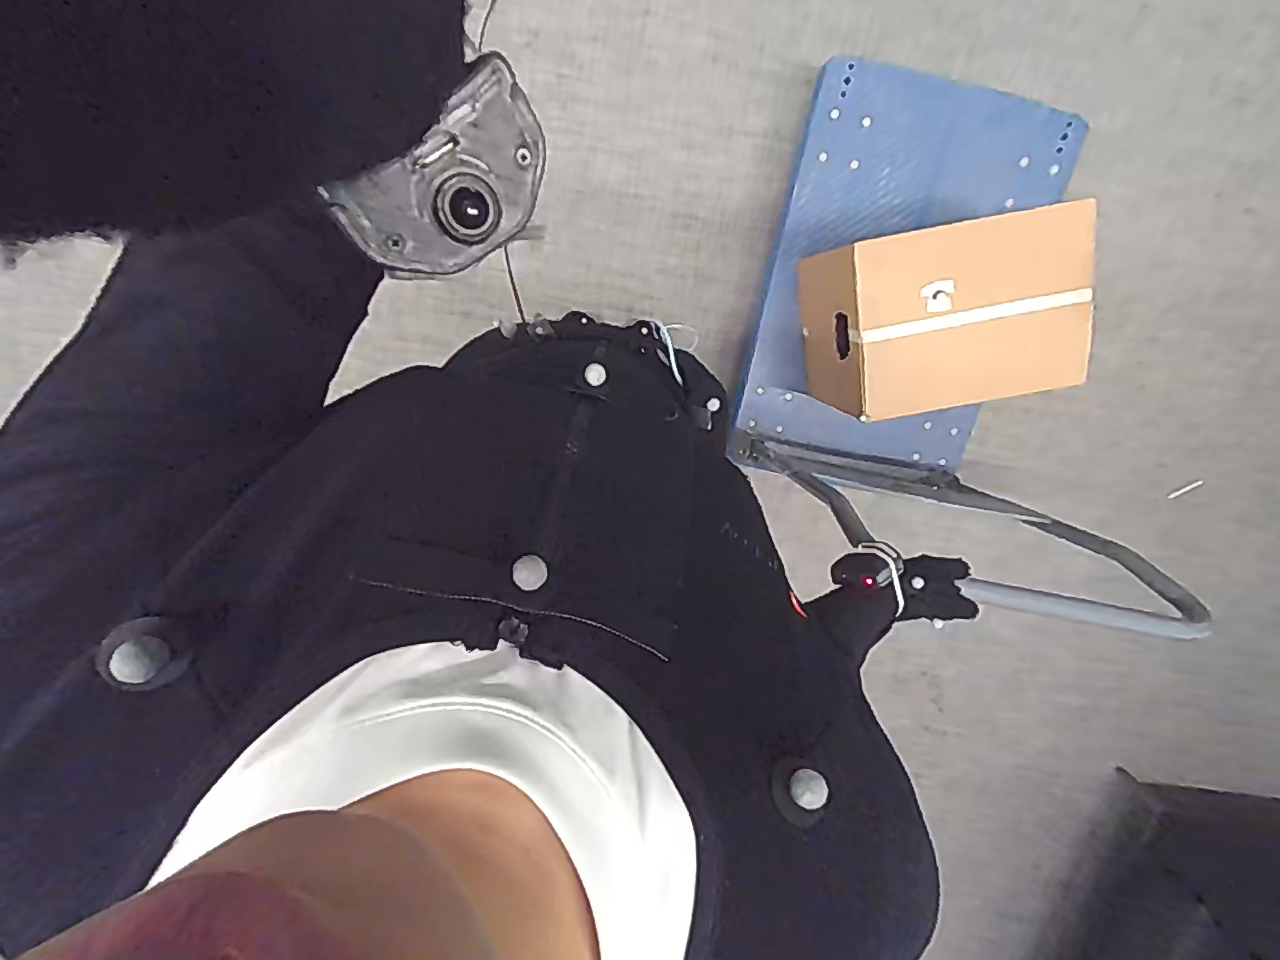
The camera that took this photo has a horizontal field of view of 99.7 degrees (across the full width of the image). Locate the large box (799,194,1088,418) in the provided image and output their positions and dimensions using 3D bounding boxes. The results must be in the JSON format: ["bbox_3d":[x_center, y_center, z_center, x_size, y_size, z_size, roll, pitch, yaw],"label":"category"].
[{"bbox_3d":[0.571,-0.340,1.085,0.408,0.320,0.320,-10,107,3],"label":"large box"}]
